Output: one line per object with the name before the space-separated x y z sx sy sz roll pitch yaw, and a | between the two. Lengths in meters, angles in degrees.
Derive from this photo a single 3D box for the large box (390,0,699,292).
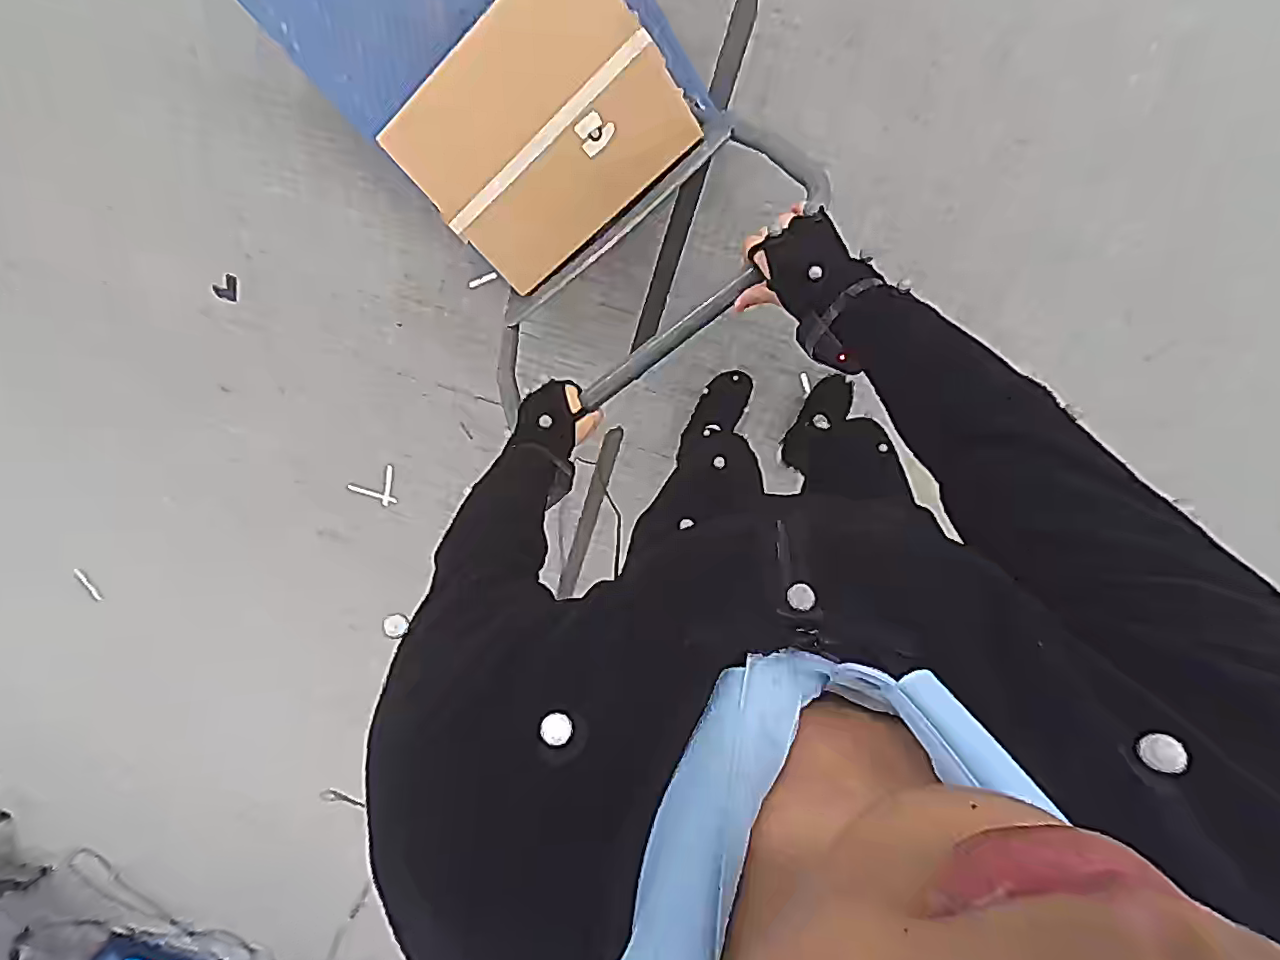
large box | -0.163 -0.625 0.975 0.408 0.320 0.320 -36 122 17
